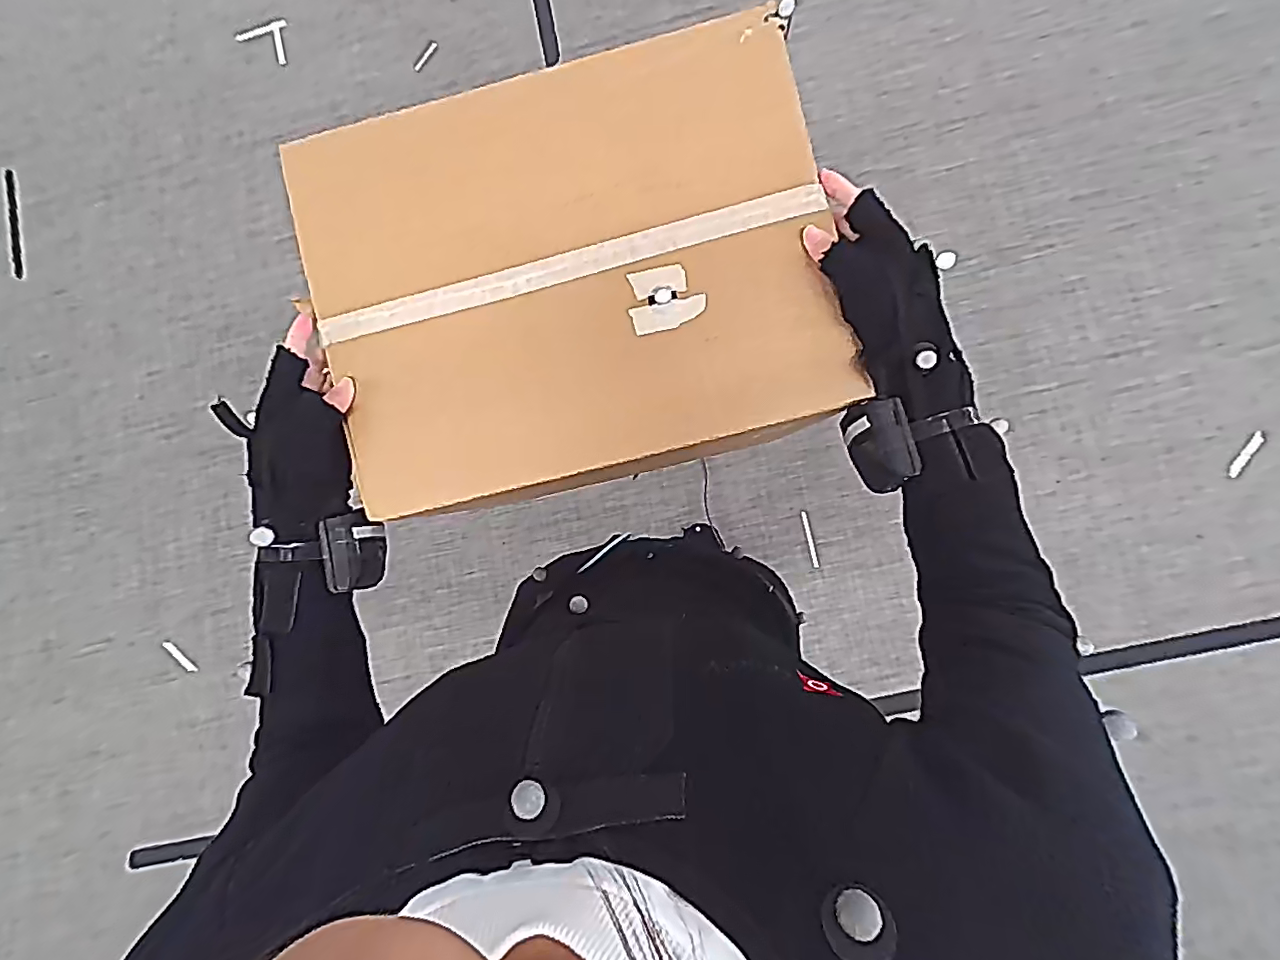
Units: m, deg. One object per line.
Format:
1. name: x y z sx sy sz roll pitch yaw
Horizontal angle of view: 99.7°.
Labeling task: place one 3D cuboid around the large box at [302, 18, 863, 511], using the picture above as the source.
1. large box: -0.047 -0.168 0.582 0.408 0.320 0.320 -14 90 2
